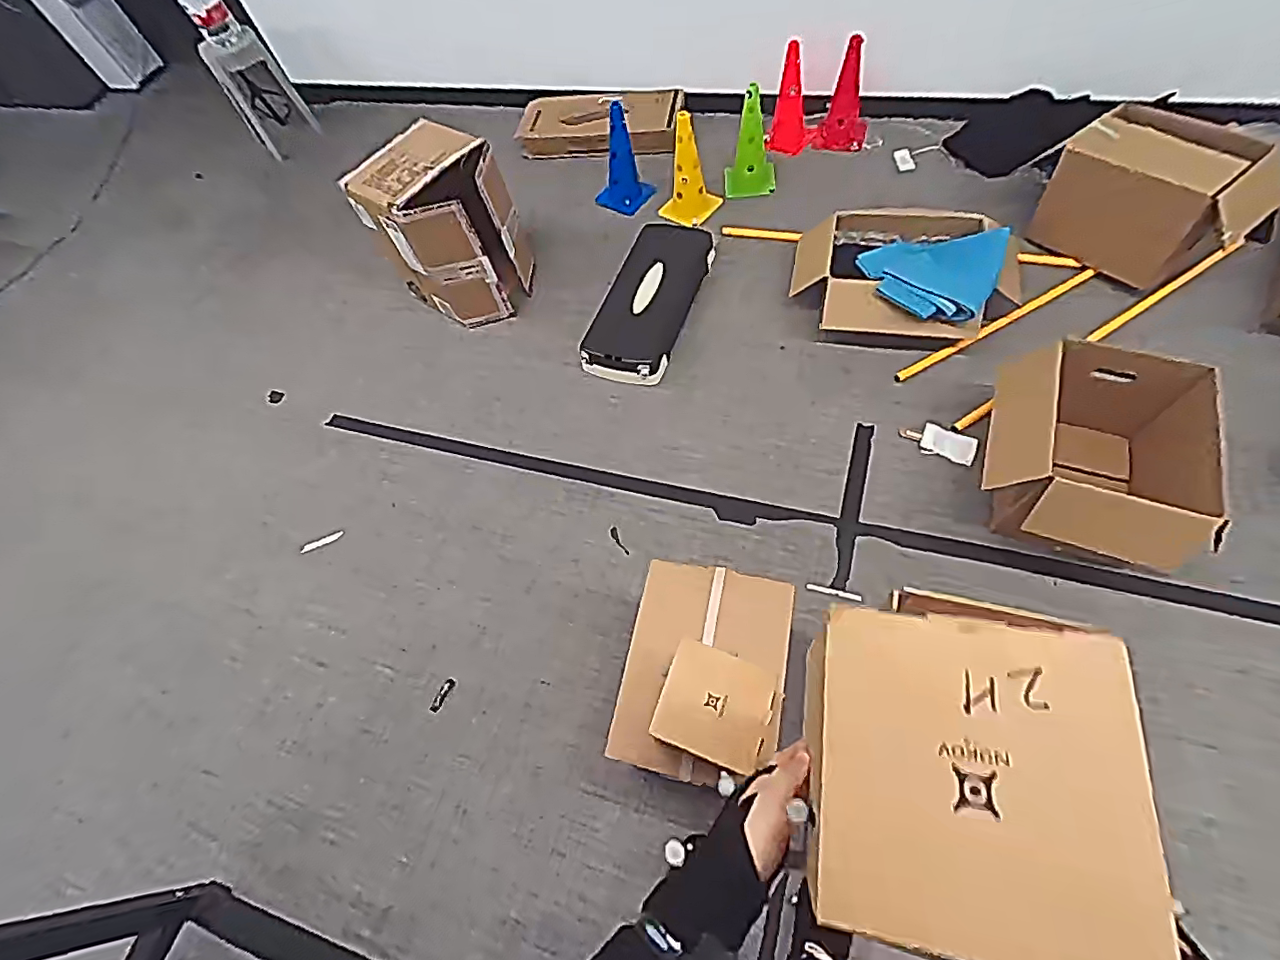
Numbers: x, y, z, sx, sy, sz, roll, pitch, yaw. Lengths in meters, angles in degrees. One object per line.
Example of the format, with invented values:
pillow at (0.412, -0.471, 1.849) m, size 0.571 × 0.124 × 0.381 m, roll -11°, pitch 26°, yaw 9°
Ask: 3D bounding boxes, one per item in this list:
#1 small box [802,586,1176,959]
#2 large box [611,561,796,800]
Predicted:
small box at (0.203, 0.187, 0.373) m, size 0.168 × 0.176 × 0.179 m, roll 4°, pitch 66°, yaw 15°
large box at (0.151, 0.435, 1.197) m, size 0.320 × 0.320 × 0.408 m, roll 8°, pitch 64°, yaw 13°
